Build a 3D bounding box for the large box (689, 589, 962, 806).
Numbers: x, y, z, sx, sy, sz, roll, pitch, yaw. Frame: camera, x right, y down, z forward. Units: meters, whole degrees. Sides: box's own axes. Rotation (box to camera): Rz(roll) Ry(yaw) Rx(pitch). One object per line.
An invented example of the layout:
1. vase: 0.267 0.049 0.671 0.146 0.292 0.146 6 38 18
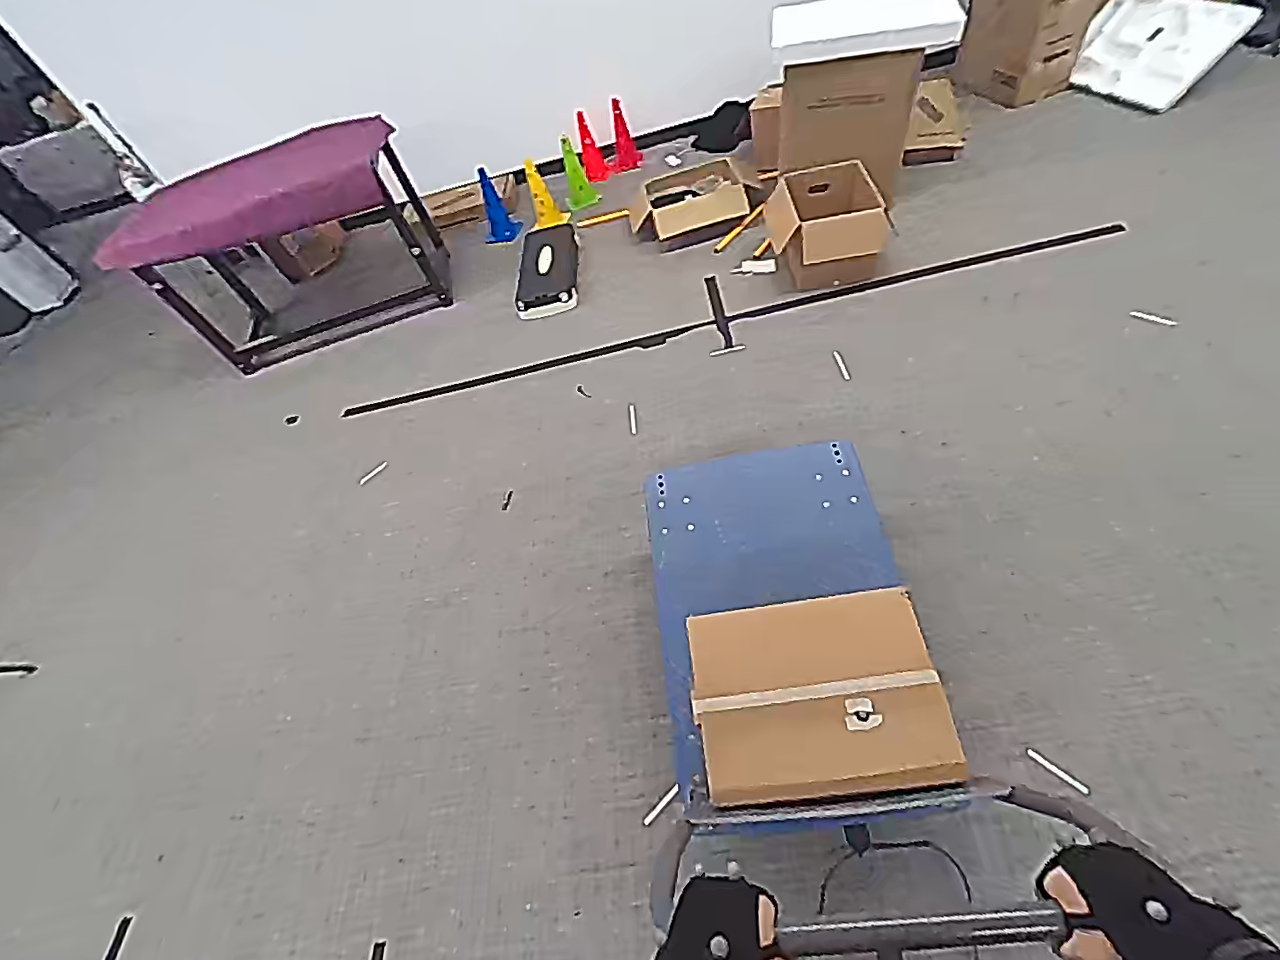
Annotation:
1. large box: 0.327 0.439 1.073 0.408 0.320 0.320 -10 62 6
